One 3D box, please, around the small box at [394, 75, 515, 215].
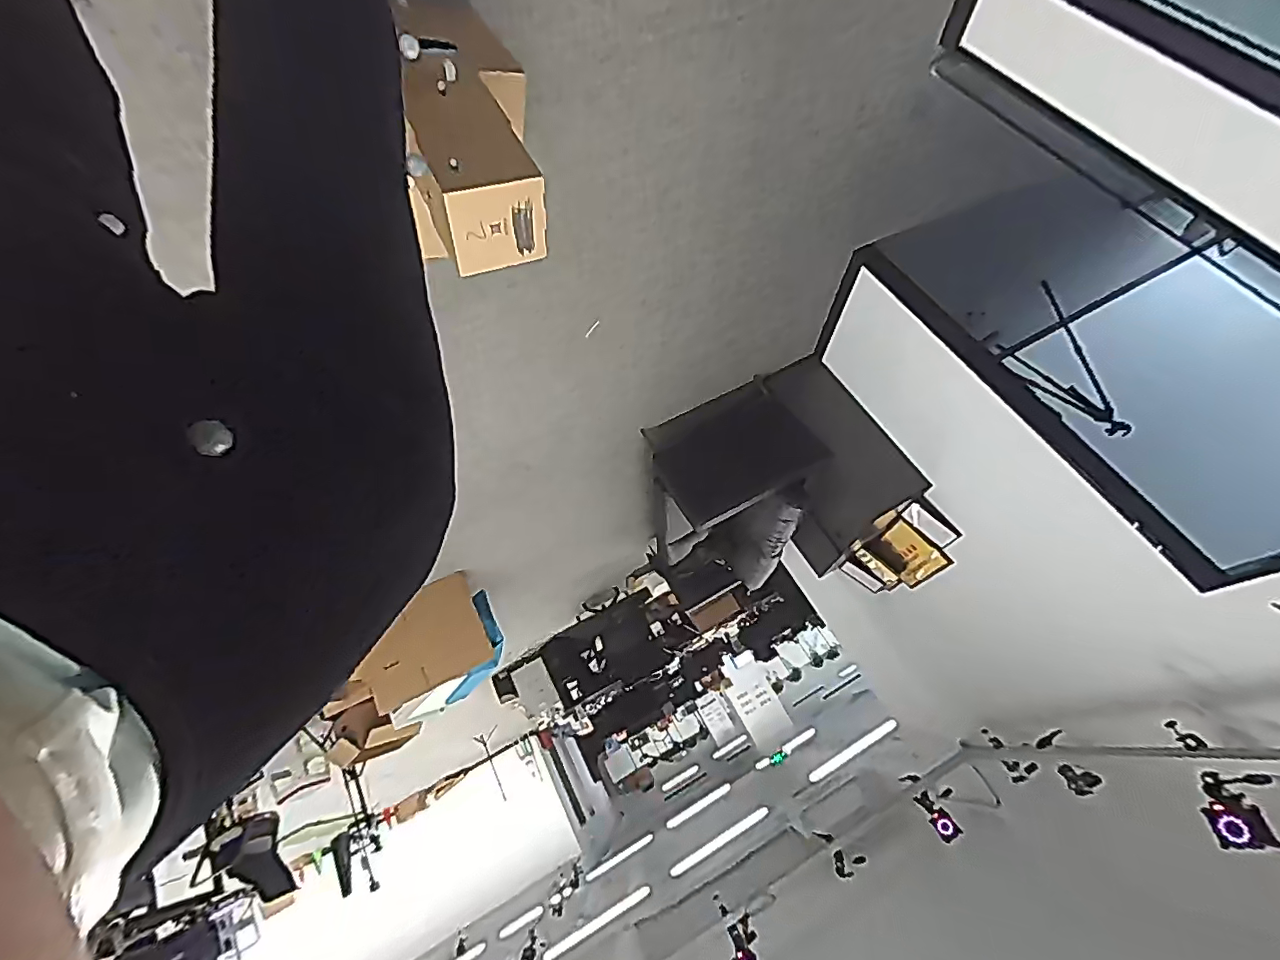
[{"bbox_3d":[-0.359,-0.651,1.048,0.179,0.176,0.168,-21,156,-20],"label":"small box"}]
